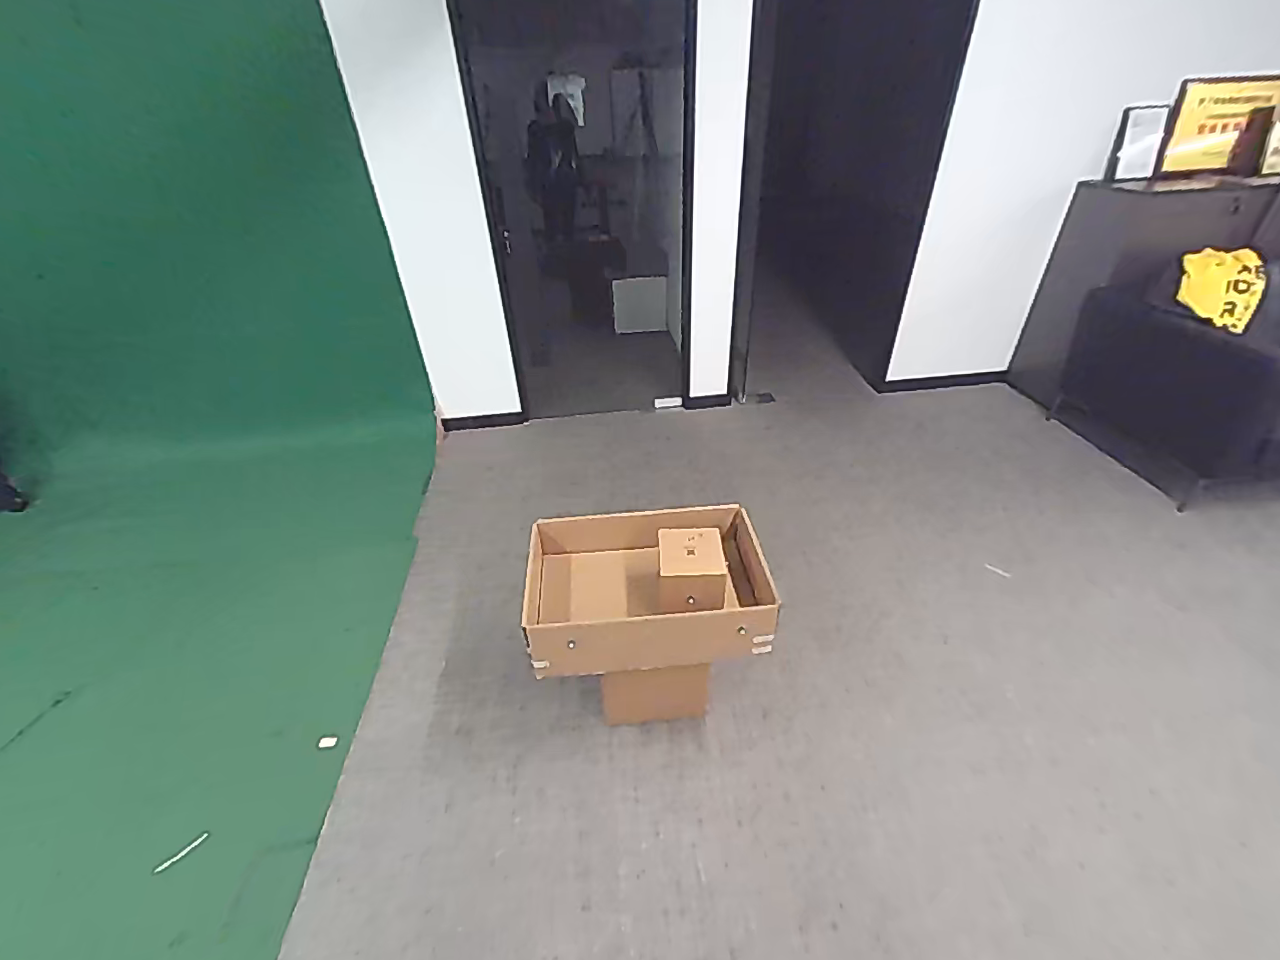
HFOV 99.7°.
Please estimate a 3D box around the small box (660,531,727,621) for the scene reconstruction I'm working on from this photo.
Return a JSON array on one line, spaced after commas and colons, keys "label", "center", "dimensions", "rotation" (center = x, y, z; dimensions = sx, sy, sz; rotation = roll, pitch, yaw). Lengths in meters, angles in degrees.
[{"label": "small box", "center": [0.137, 0.257, 1.431], "dimensions": [0.168, 0.176, 0.179], "rotation": [-1, 35, 1]}]
